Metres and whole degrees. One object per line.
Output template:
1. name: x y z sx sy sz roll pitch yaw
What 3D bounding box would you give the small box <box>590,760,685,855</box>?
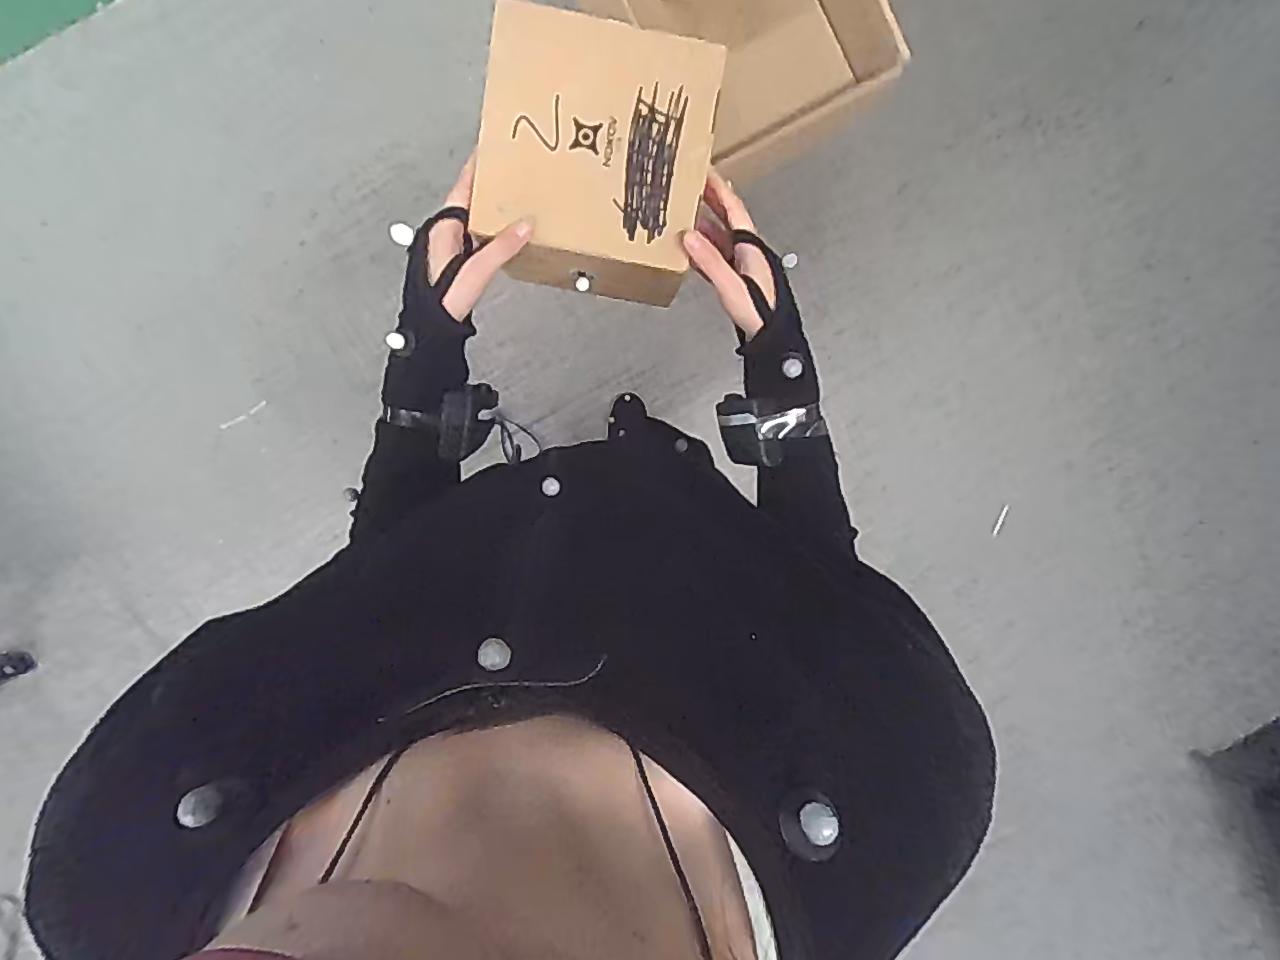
1. small box: -0.012 0.836 1.334 0.179 0.176 0.168 -30 95 0

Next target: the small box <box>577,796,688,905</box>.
1. small box: -0.015 0.839 1.170 0.179 0.176 0.168 -32 95 1
